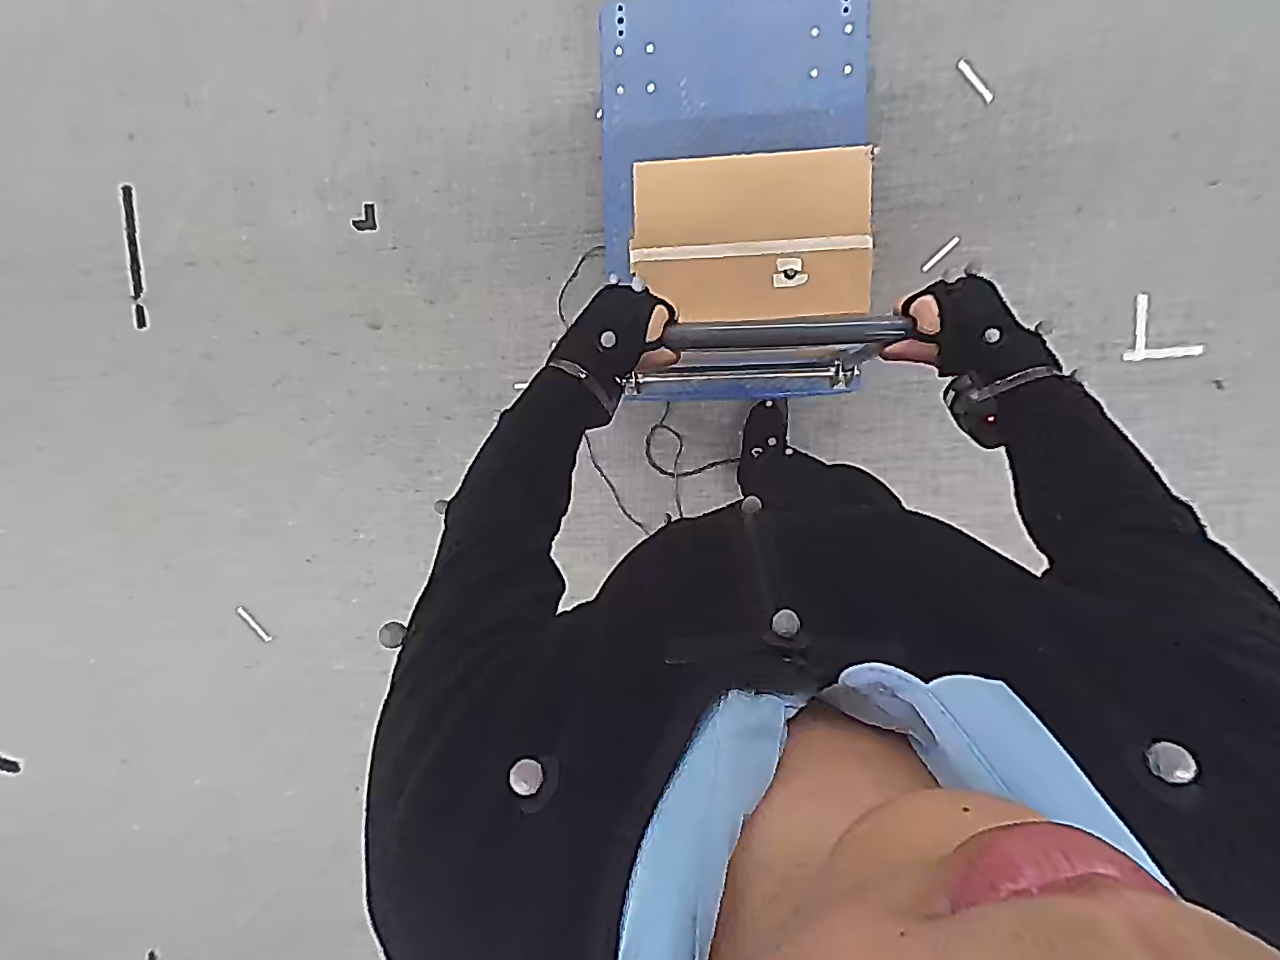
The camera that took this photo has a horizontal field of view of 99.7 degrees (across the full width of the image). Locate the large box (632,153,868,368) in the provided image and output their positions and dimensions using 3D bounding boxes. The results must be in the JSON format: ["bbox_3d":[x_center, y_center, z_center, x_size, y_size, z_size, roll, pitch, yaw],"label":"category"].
[{"bbox_3d":[0.202,-0.405,1.084,0.408,0.320,0.320,-1,97,5],"label":"large box"}]
